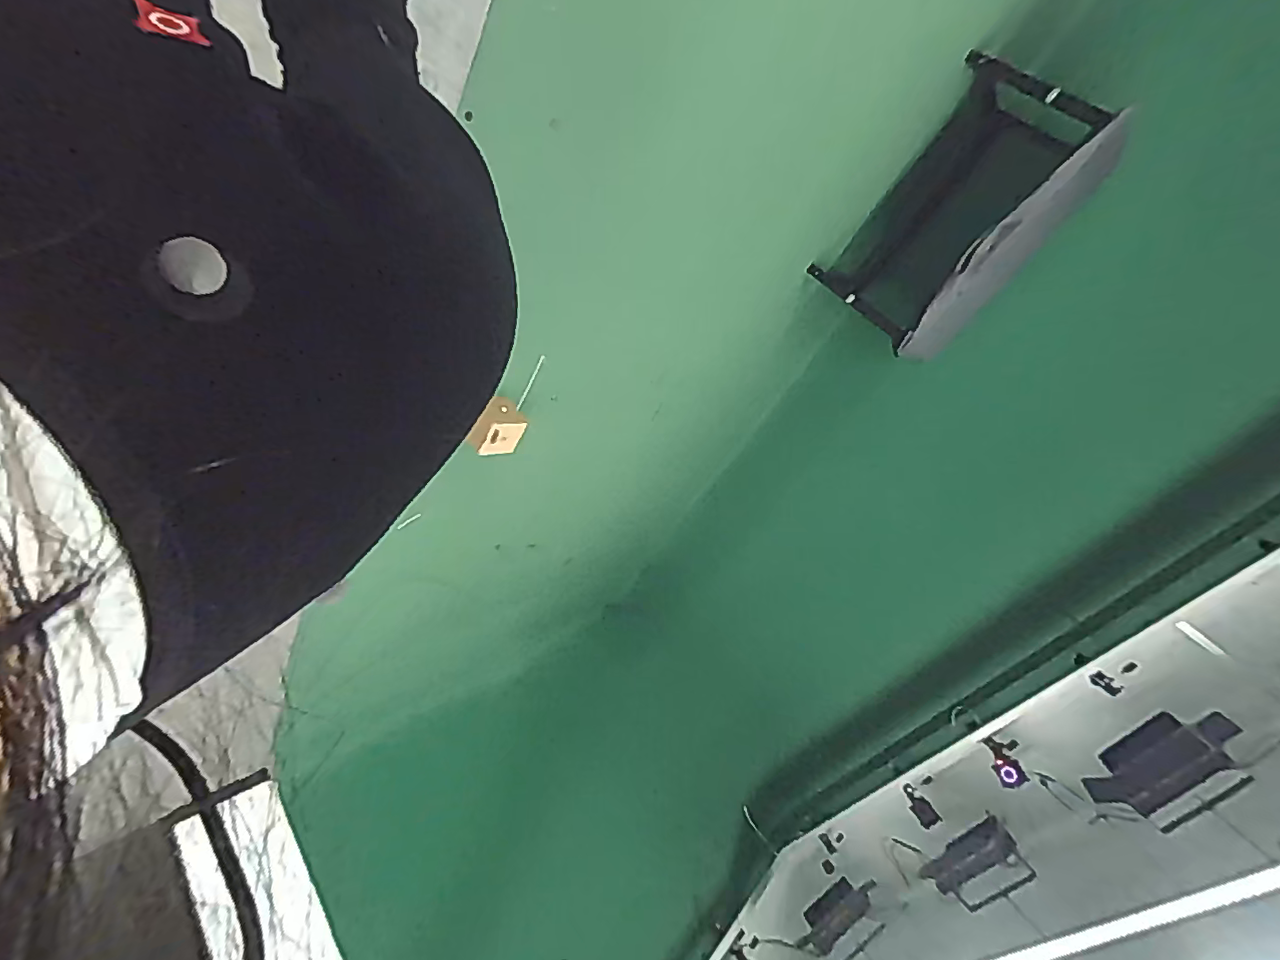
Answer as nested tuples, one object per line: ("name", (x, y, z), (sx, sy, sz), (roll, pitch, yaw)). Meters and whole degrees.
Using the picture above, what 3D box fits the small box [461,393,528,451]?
("small box", (-0.592, -0.237, 2.181), (0.179, 0.176, 0.168), (-11, 143, -52))
